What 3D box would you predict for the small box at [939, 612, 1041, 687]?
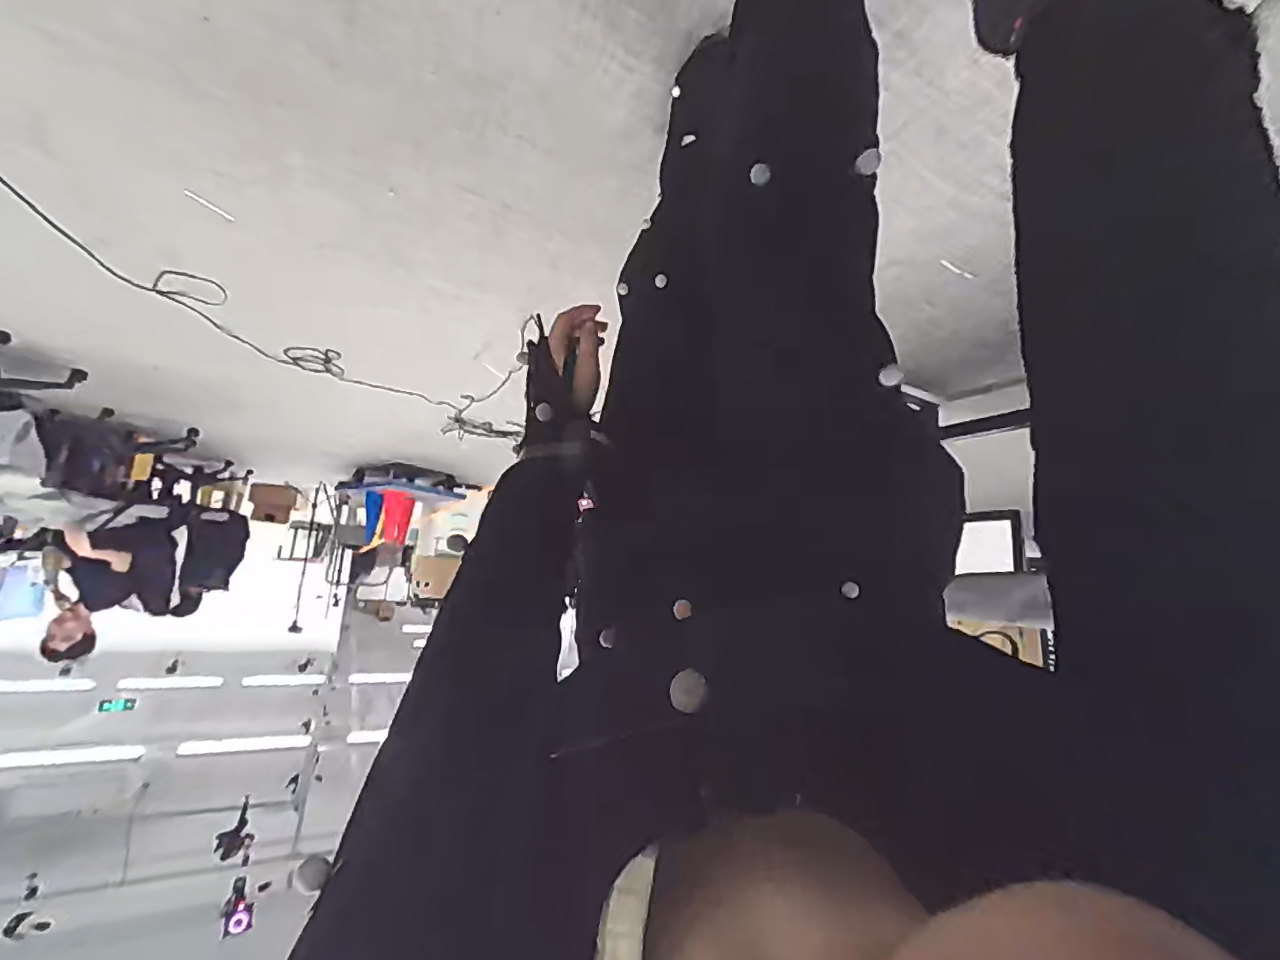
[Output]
[{"bbox_3d":[0.908,0.437,1.414,0.179,0.176,0.168,9,168,-26],"label":"small box"}]
